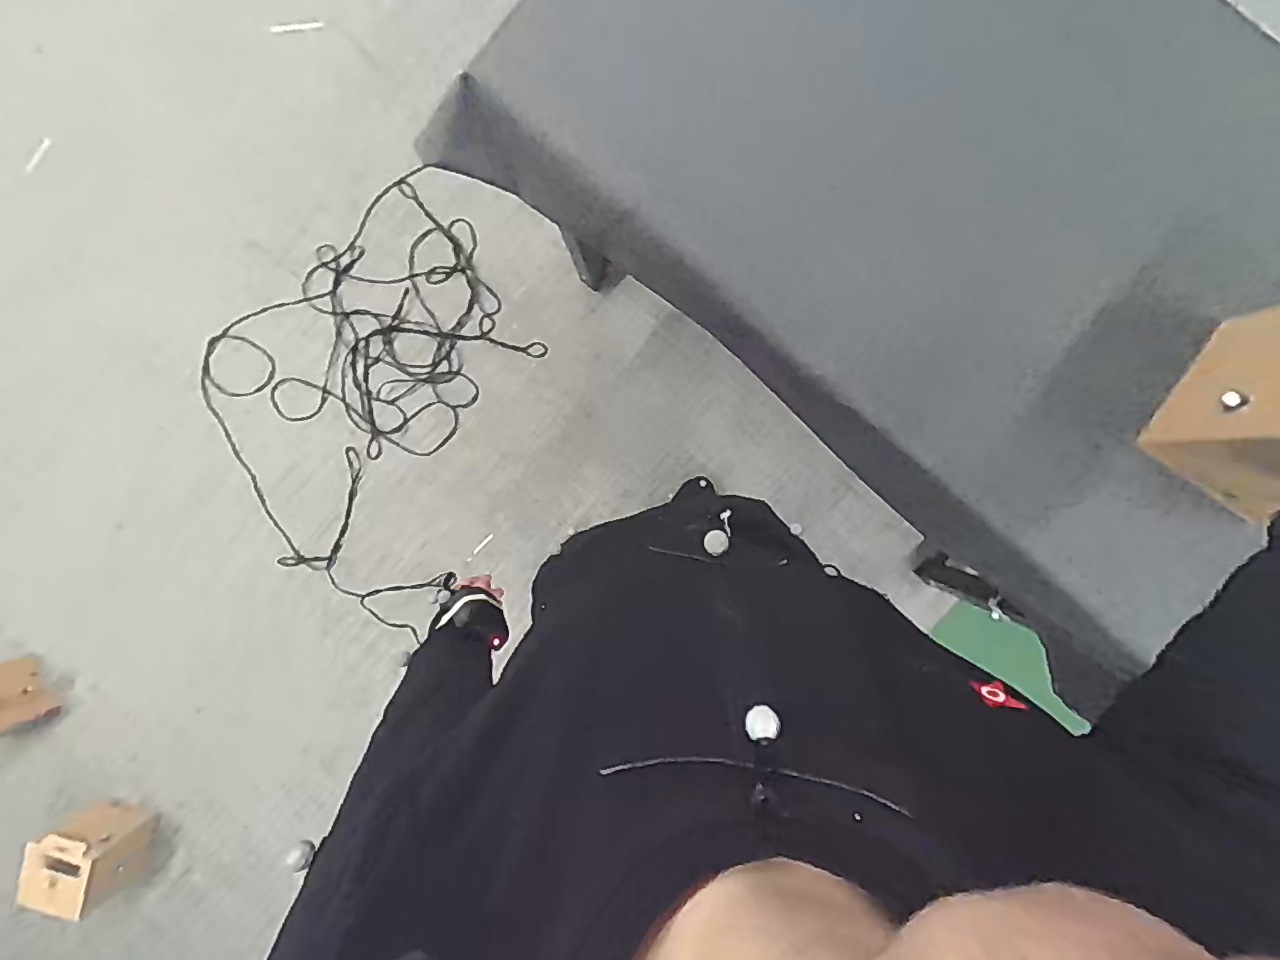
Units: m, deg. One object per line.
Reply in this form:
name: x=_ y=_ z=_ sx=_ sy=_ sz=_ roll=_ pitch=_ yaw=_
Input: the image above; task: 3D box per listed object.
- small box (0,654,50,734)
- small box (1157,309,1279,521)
small box: x=-1.659 y=0.564 z=1.345 sx=0.179 sy=0.176 sz=0.168 roll=-28 pitch=90 yaw=2
small box: x=0.685 y=-0.064 z=0.535 sx=0.168 sy=0.176 sz=0.179 roll=34 pitch=91 yaw=0
